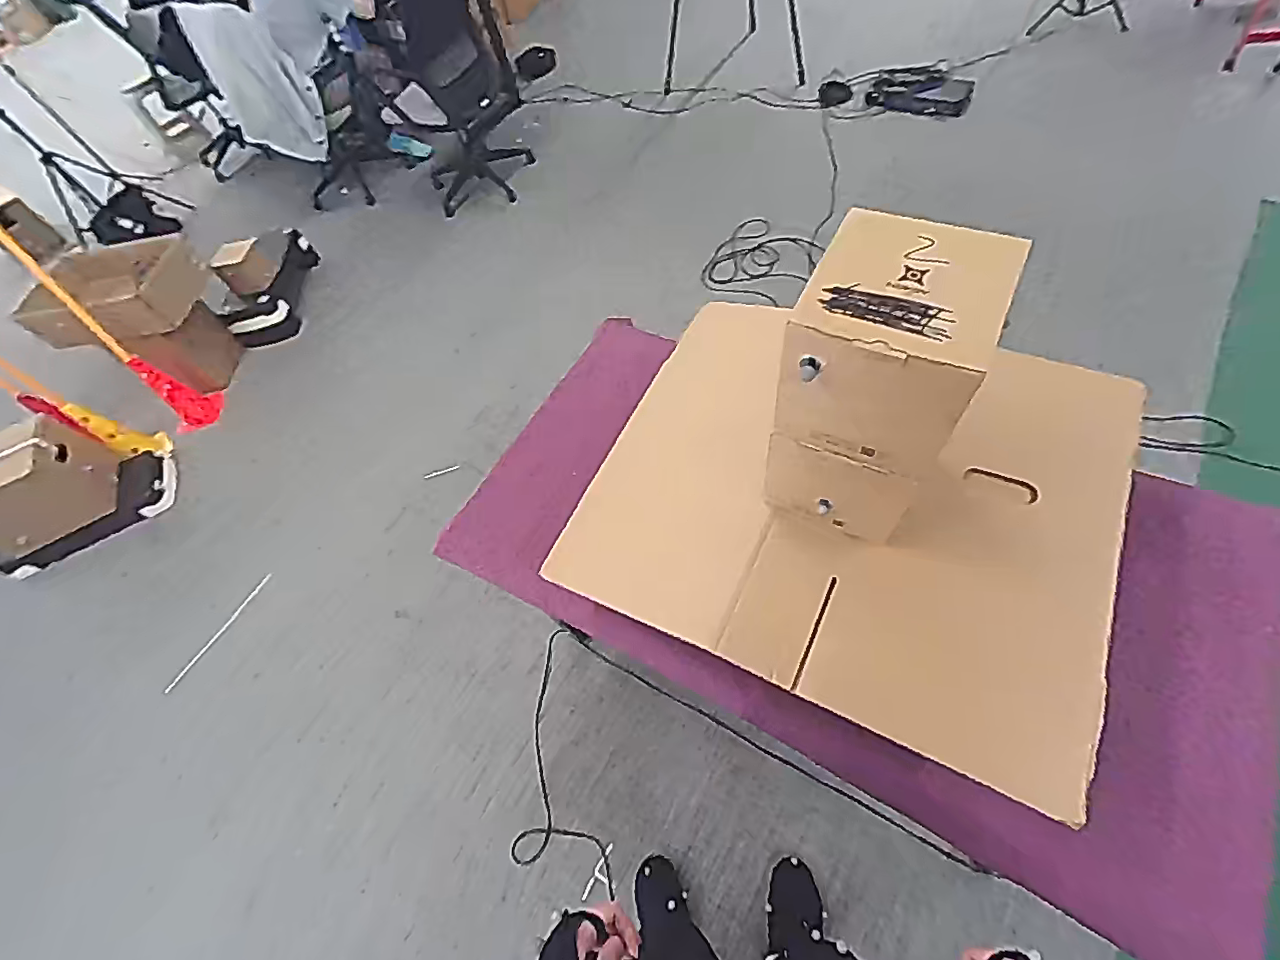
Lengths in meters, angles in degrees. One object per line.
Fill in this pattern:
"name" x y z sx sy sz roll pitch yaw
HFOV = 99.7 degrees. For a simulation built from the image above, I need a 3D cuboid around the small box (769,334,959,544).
"small box" 0.272 -0.048 0.691 0.168 0.176 0.179 22 66 21
